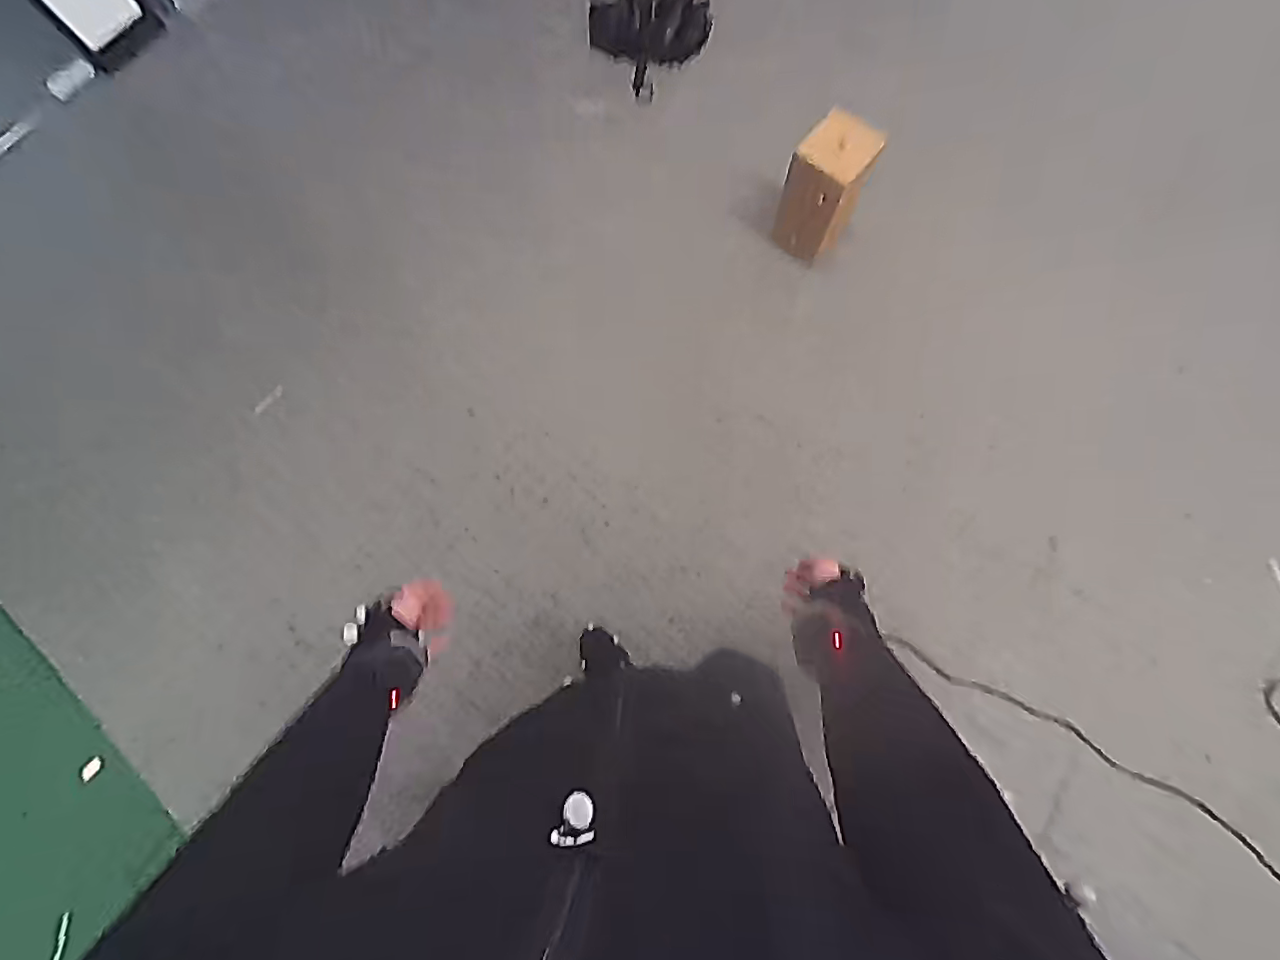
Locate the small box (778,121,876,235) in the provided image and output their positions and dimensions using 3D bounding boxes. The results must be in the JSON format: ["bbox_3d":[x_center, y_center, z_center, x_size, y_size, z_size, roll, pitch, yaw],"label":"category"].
[{"bbox_3d":[0.494,-0.808,1.462,0.168,0.176,0.179,39,79,10],"label":"small box"}]

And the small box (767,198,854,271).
[{"bbox_3d":[0.501,-0.767,1.619,0.168,0.176,0.179,39,81,11],"label":"small box"}]
